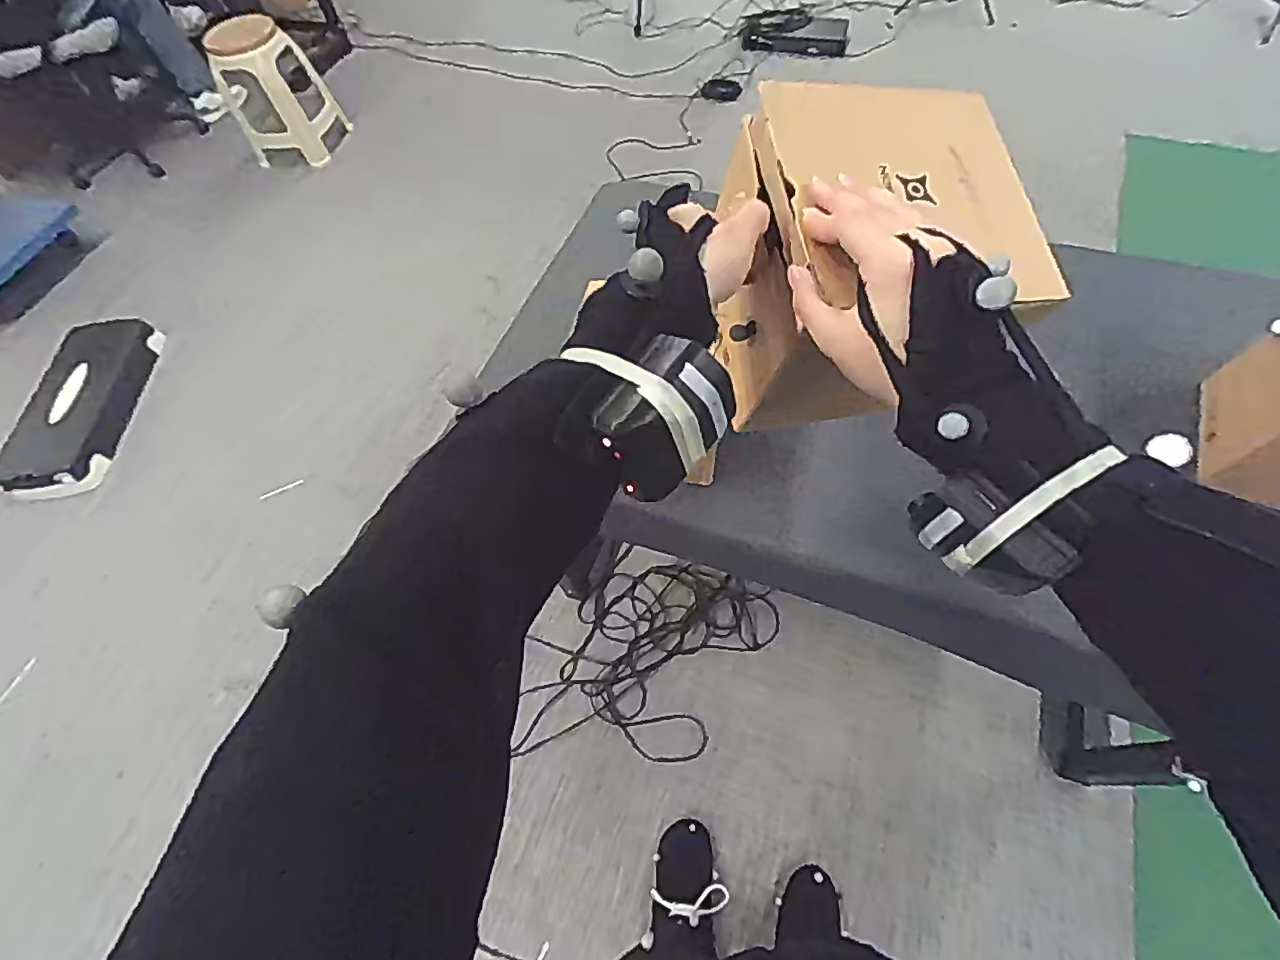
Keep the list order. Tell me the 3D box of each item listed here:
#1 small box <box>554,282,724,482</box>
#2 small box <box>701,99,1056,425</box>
[{"bbox_3d":[0.016,-0.113,0.656,0.179,0.176,0.168,7,60,10],"label":"small box"},{"bbox_3d":[0.152,-0.152,0.419,0.179,0.176,0.168,-8,74,-8],"label":"small box"}]
